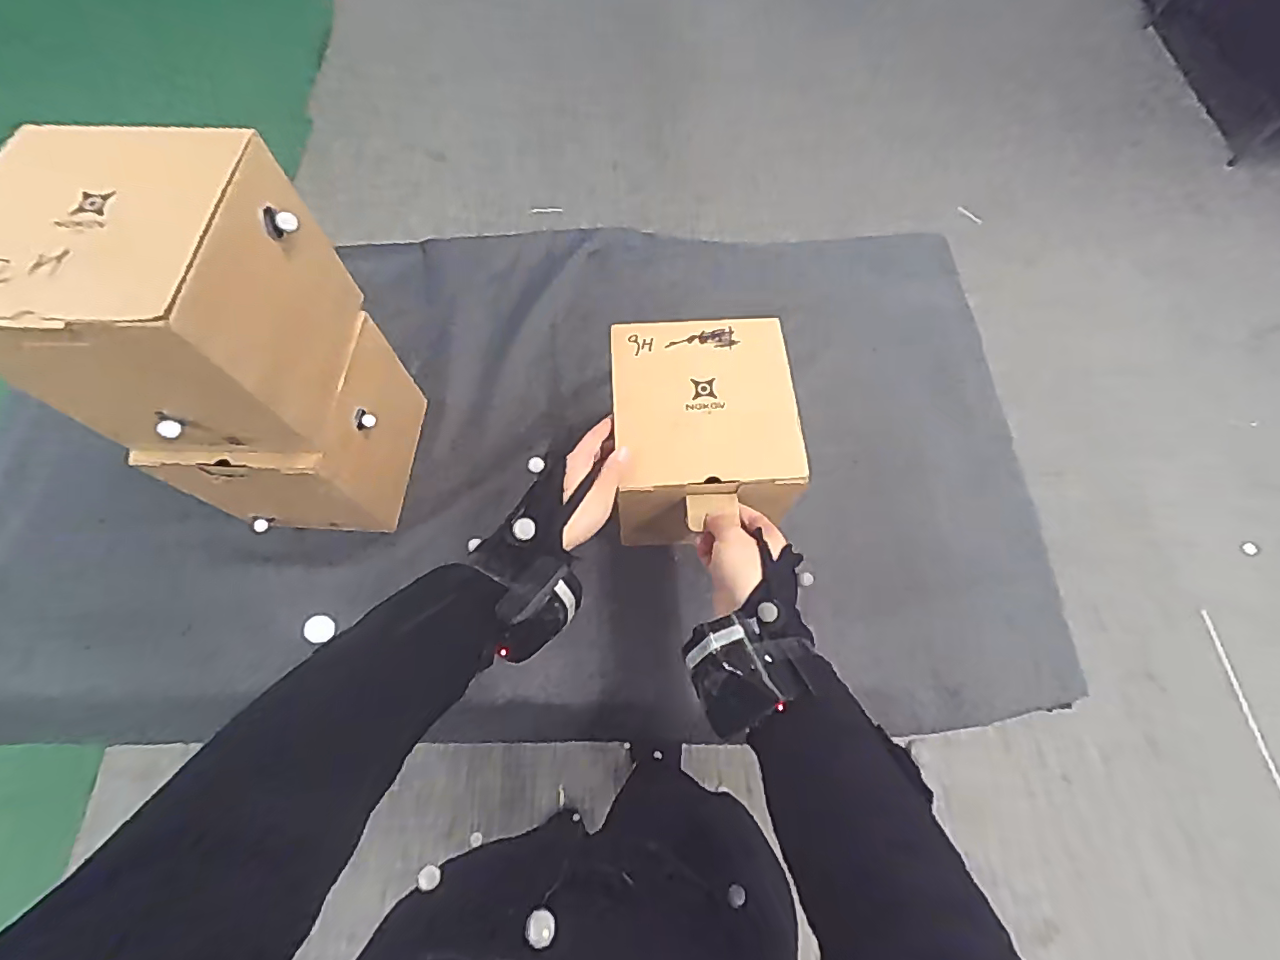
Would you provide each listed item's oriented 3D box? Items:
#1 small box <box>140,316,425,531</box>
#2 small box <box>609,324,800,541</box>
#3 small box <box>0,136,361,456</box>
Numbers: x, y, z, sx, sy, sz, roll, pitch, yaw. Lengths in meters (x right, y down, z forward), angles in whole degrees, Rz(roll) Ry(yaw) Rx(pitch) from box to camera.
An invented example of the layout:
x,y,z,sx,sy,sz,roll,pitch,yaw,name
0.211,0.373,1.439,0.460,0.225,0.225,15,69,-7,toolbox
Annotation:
x,y,z,sx,sy,sz,roll,pitch,yaw,name
-0.350,-0.054,0.574,0.168,0.176,0.179,3,65,1,small box
0.056,-0.038,0.567,0.168,0.176,0.179,-2,66,-1,small box
-0.352,-0.136,0.431,0.168,0.176,0.179,1,66,1,small box
